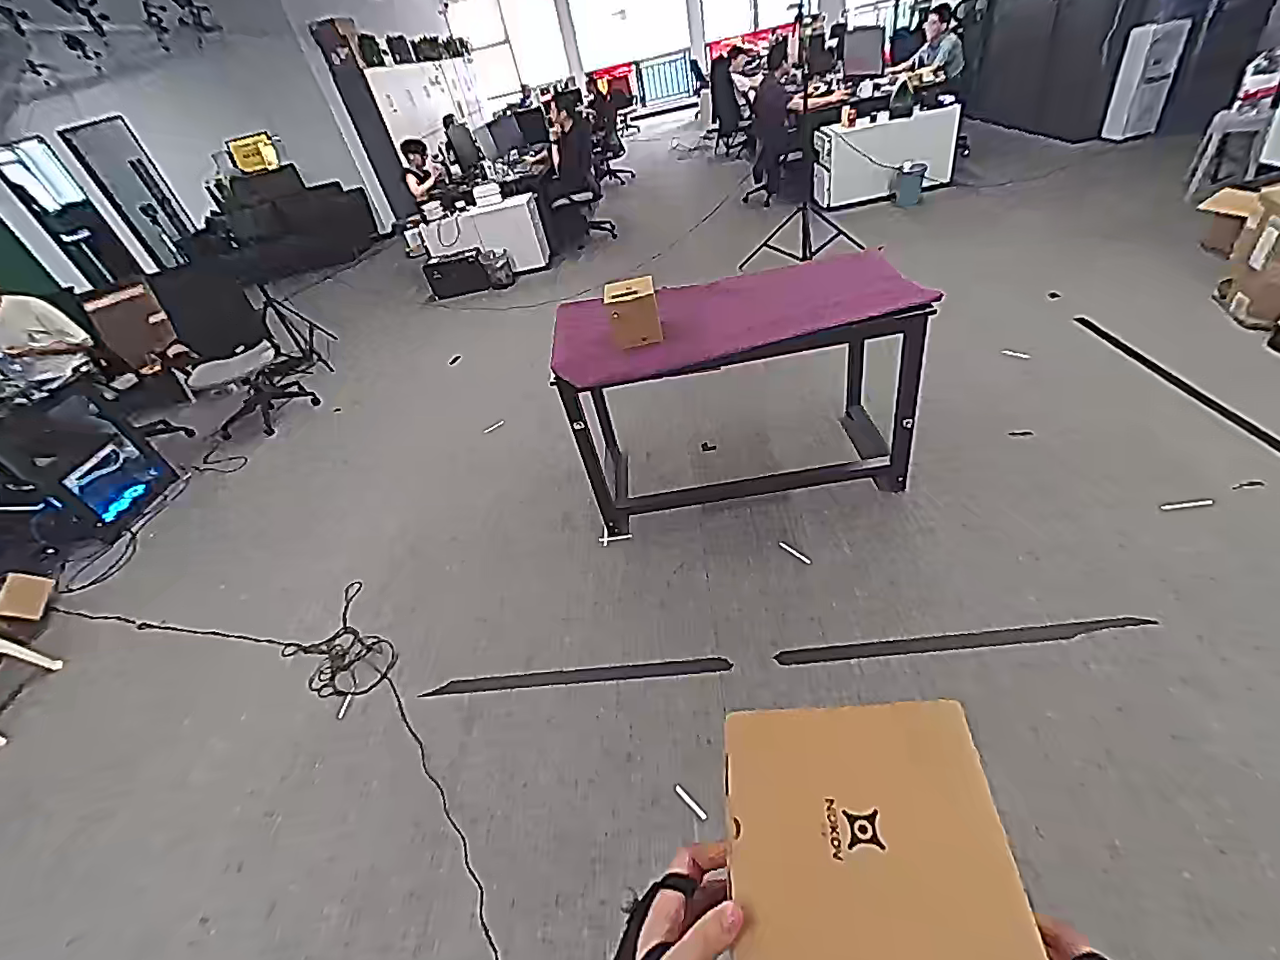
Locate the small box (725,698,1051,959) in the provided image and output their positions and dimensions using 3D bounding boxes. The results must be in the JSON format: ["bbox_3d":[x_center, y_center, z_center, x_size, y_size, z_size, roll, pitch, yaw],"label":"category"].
[{"bbox_3d":[0.169,0.284,0.408,0.179,0.176,0.168,-11,41,17],"label":"small box"}]
